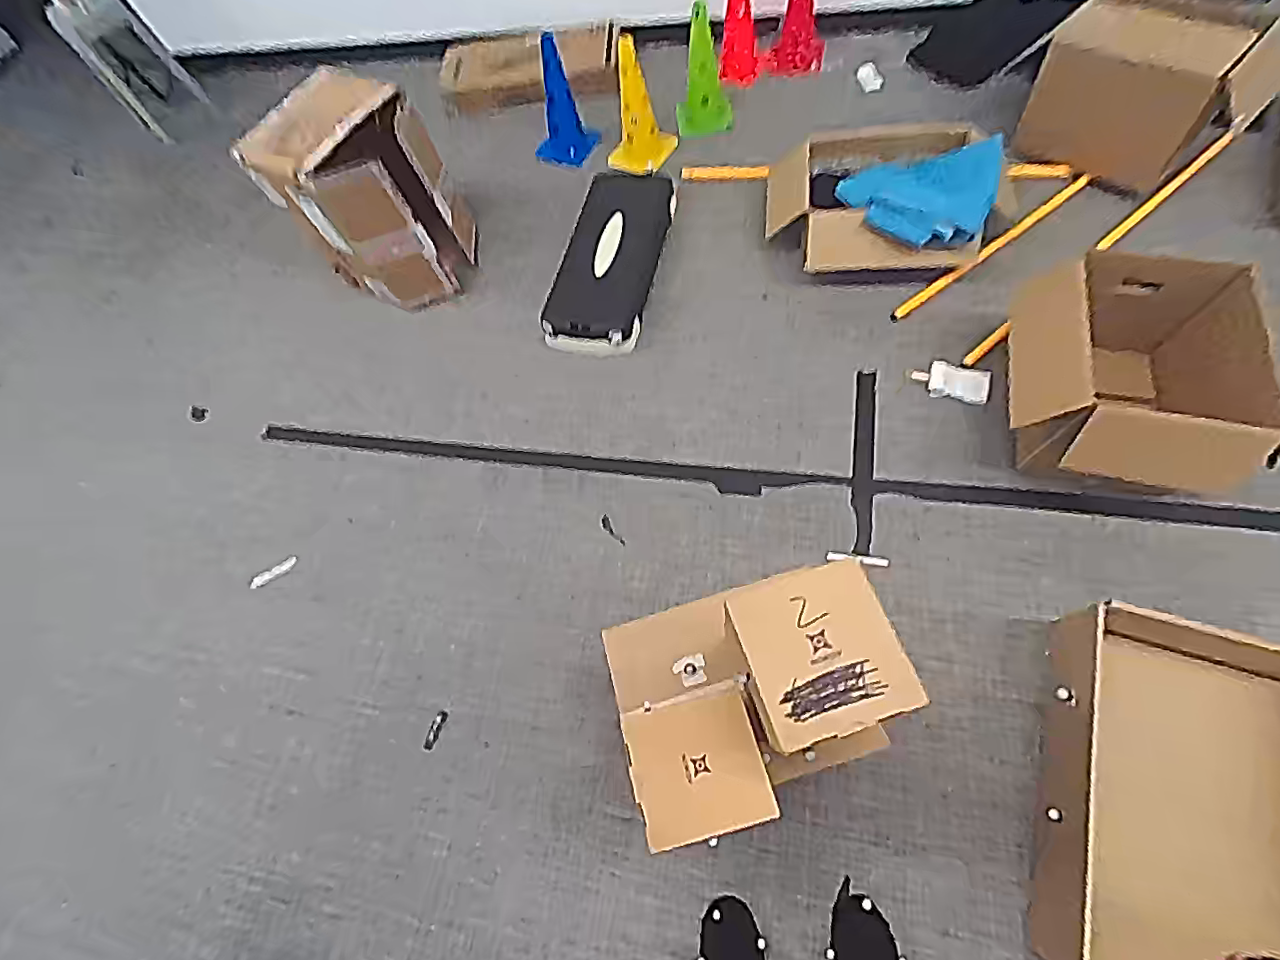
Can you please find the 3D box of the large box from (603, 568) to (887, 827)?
[{"bbox_3d":[0.185,0.411,1.048,0.408,0.320,0.320,-19,64,1],"label":"large box"}]

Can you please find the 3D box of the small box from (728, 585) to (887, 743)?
[{"bbox_3d":[0.239,0.284,0.825,0.168,0.176,0.179,-20,65,1],"label":"small box"}]
